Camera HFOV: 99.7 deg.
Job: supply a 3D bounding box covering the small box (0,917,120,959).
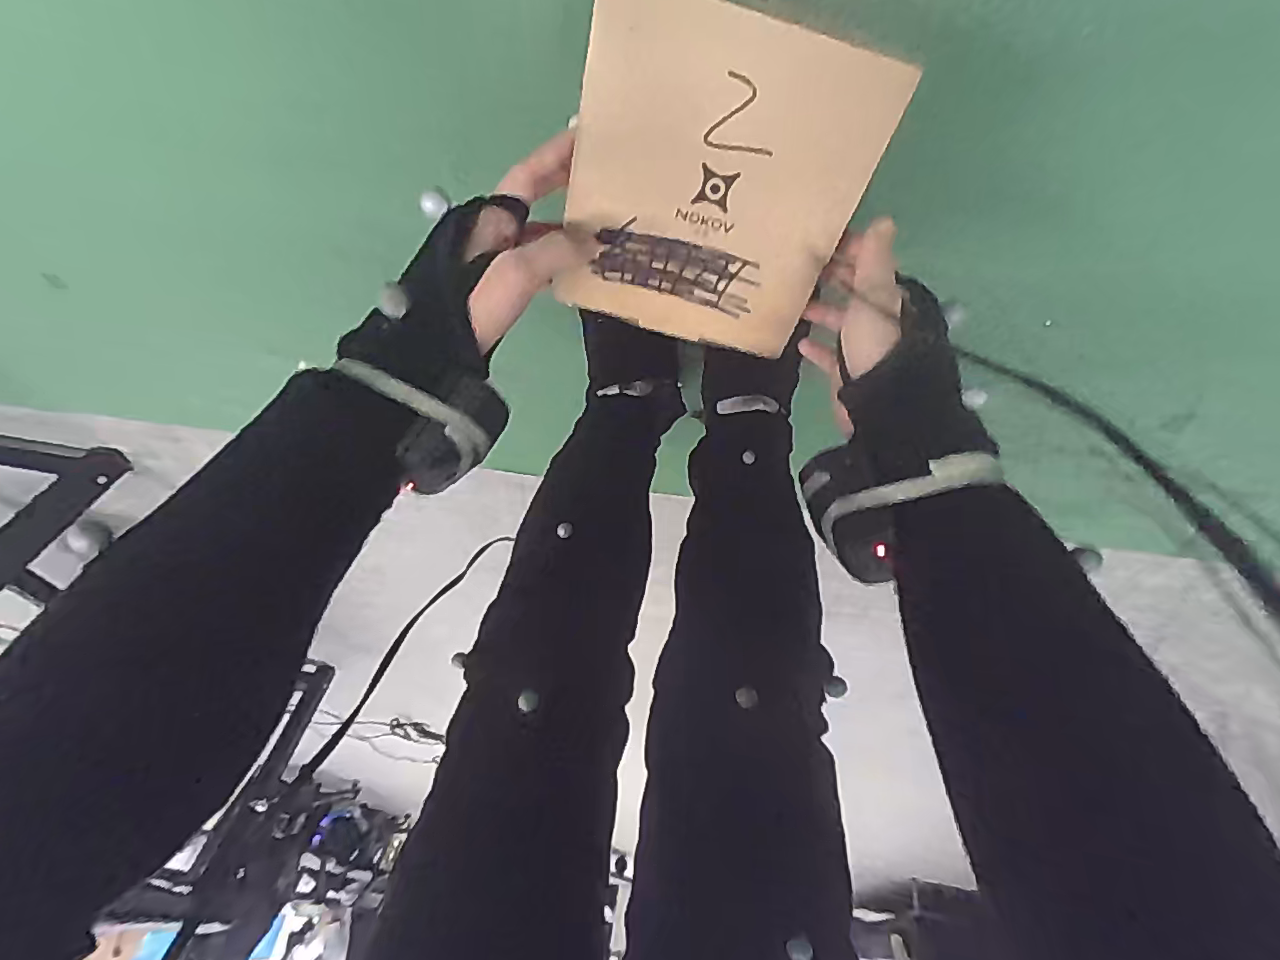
[{"bbox_3d":[-1.373,1.118,1.233,0.179,0.176,0.168,11,139,2],"label":"small box"}]
